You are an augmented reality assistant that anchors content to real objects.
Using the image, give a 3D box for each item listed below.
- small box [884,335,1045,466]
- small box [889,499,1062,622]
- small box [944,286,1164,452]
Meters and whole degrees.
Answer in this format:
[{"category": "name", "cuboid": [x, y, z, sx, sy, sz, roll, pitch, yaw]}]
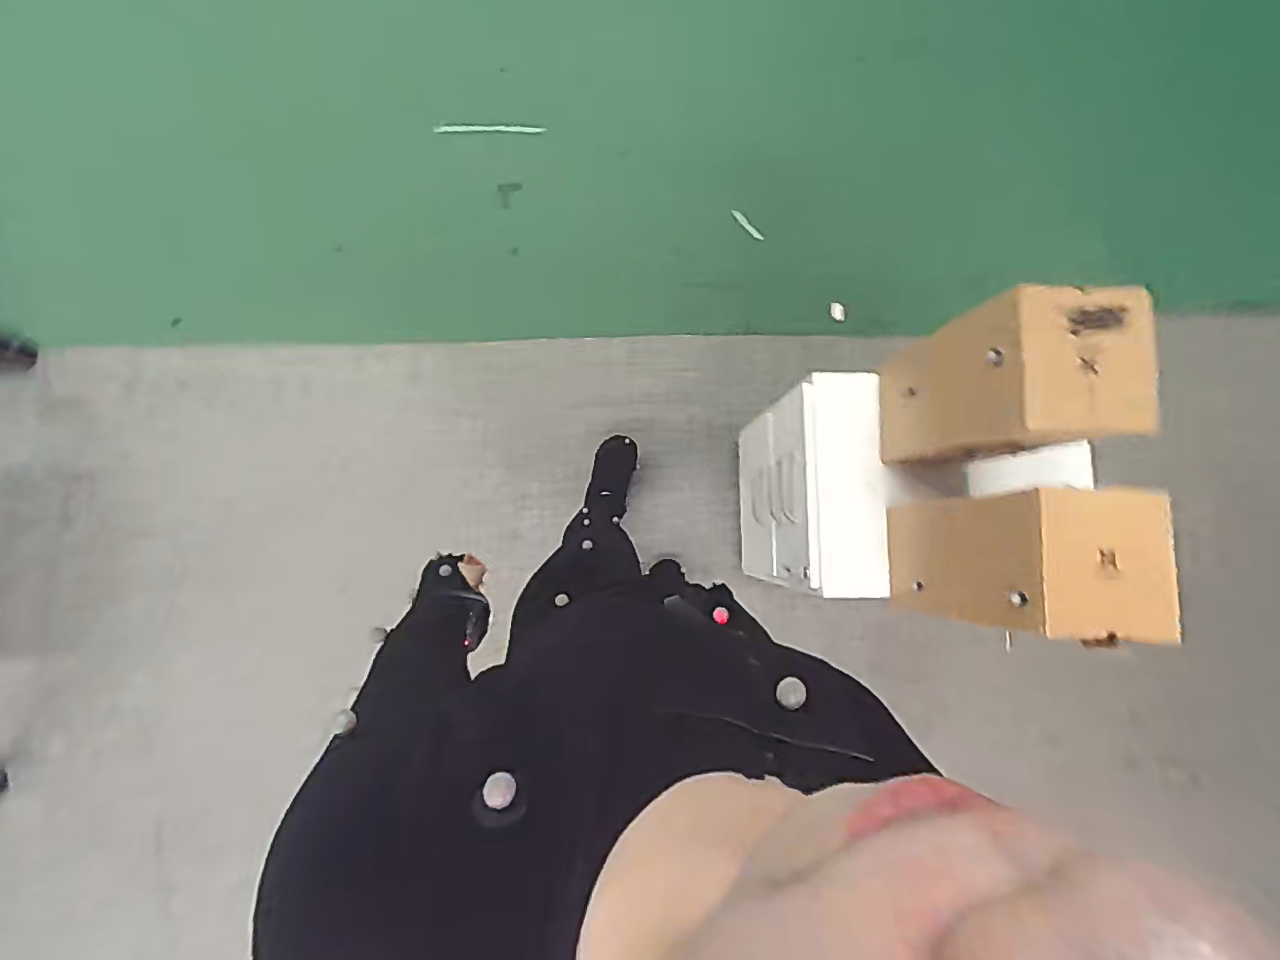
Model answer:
[{"category": "small box", "cuboid": [0.517, -0.121, 0.881, 0.168, 0.176, 0.179, 1, 86, -3]}, {"category": "small box", "cuboid": [0.518, 0.124, 0.858, 0.168, 0.176, 0.179, 0, 82, -5]}, {"category": "small box", "cuboid": [0.530, -0.136, 0.716, 0.168, 0.176, 0.179, 0, 86, -3]}]
